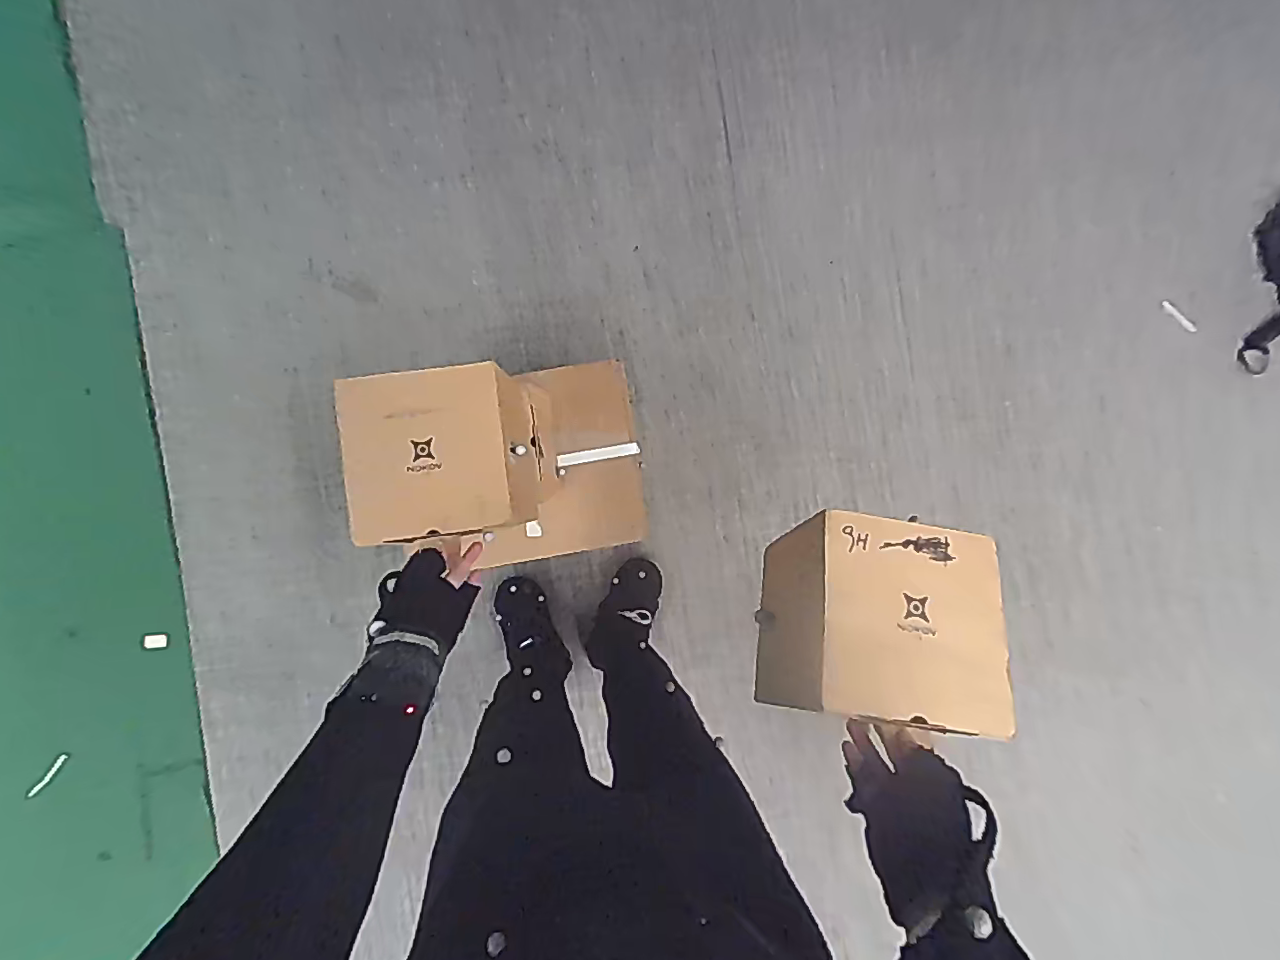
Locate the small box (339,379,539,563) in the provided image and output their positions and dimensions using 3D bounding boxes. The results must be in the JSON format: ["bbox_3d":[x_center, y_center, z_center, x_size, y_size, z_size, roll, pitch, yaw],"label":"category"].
[{"bbox_3d":[-0.223,-0.009,0.643,0.168,0.176,0.179,-9,88,-1],"label":"small box"}]

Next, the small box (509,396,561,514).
[{"bbox_3d":[-0.220,-0.028,0.813,0.179,0.176,0.168,-11,95,0],"label":"small box"}]

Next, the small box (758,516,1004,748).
[{"bbox_3d":[0.225,0.153,0.546,0.168,0.176,0.179,10,70,-4],"label":"small box"}]
